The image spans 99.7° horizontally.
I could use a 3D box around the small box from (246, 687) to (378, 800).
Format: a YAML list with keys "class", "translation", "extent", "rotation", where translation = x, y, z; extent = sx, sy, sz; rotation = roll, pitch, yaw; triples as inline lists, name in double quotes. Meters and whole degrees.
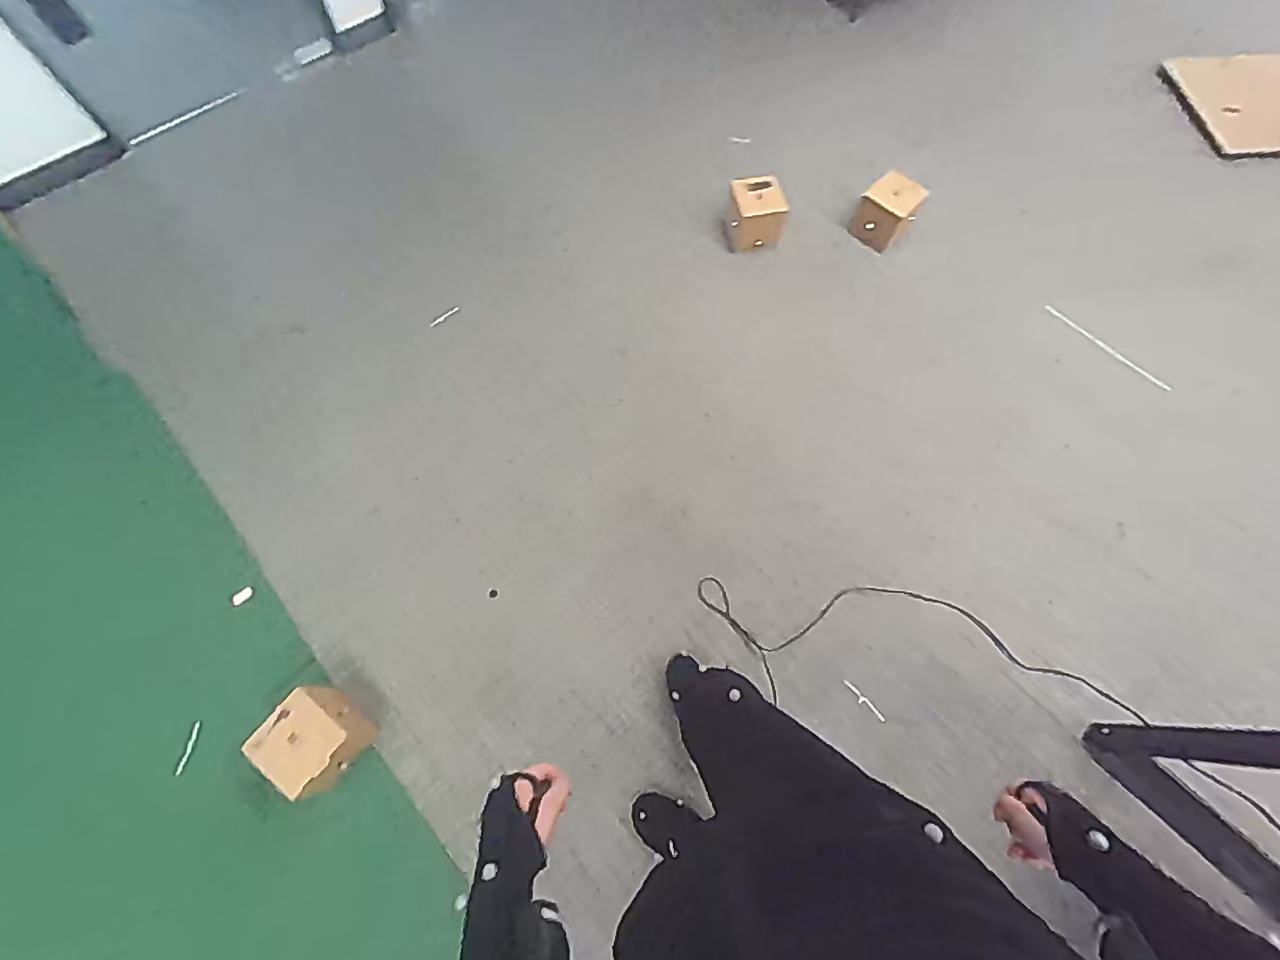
- class: "small box"
  translation: [-0.764, 0.613, 1.282]
  extent: [0.179, 0.176, 0.168]
  rotation: [36, 71, 12]

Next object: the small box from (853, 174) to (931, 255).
- class: "small box"
  translation: [0.912, -0.965, 1.979]
  extent: [0.168, 0.176, 0.179]
  rotation: [43, 73, 14]
